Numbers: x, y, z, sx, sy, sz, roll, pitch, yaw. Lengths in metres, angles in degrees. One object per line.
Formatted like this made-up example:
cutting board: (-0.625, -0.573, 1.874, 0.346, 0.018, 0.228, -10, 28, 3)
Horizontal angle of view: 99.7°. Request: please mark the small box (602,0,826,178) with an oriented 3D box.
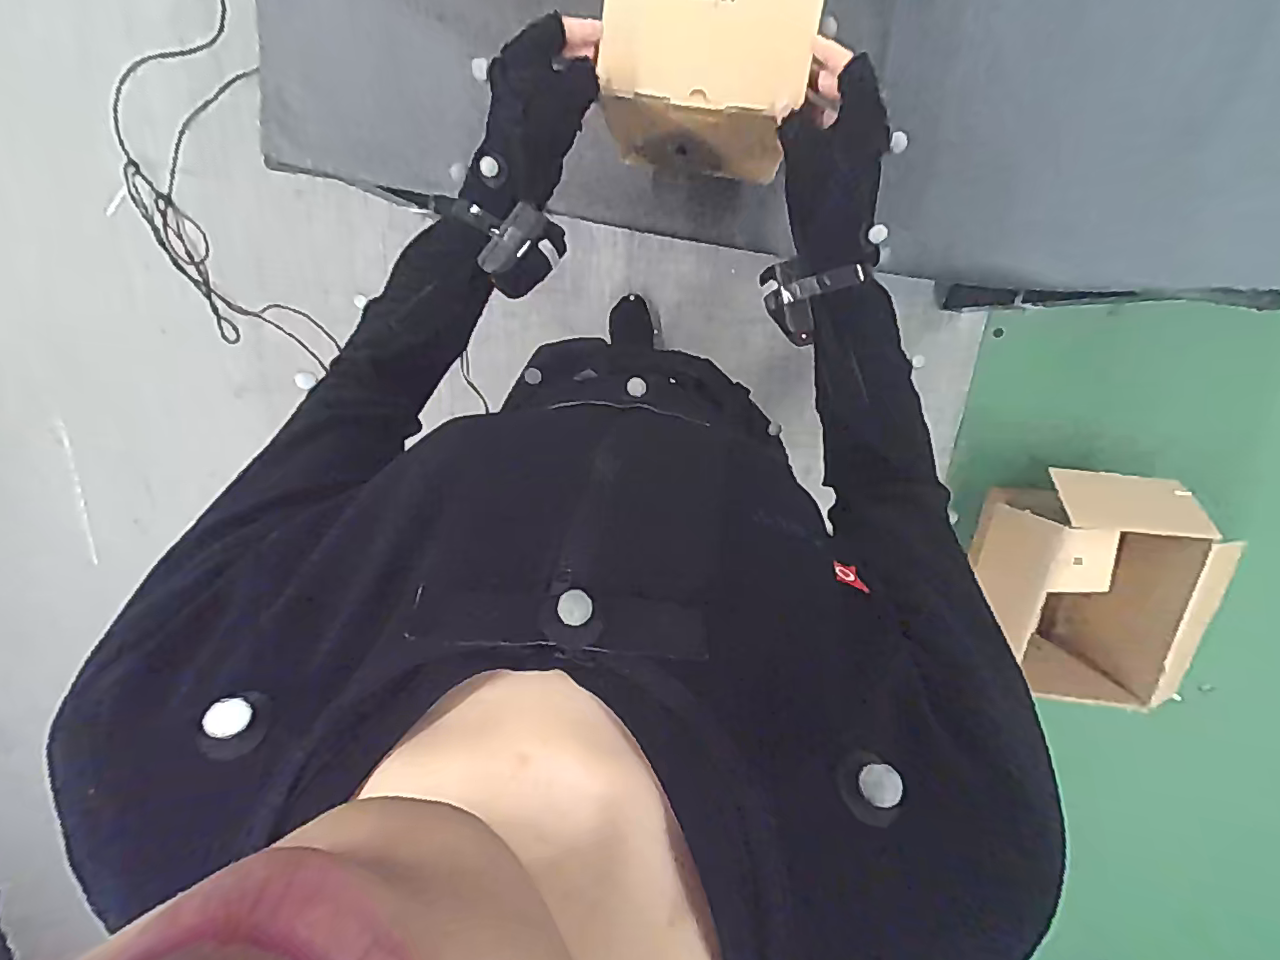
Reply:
small box: (0.067, -0.401, 0.485, 0.168, 0.176, 0.179, 9, 105, 3)
